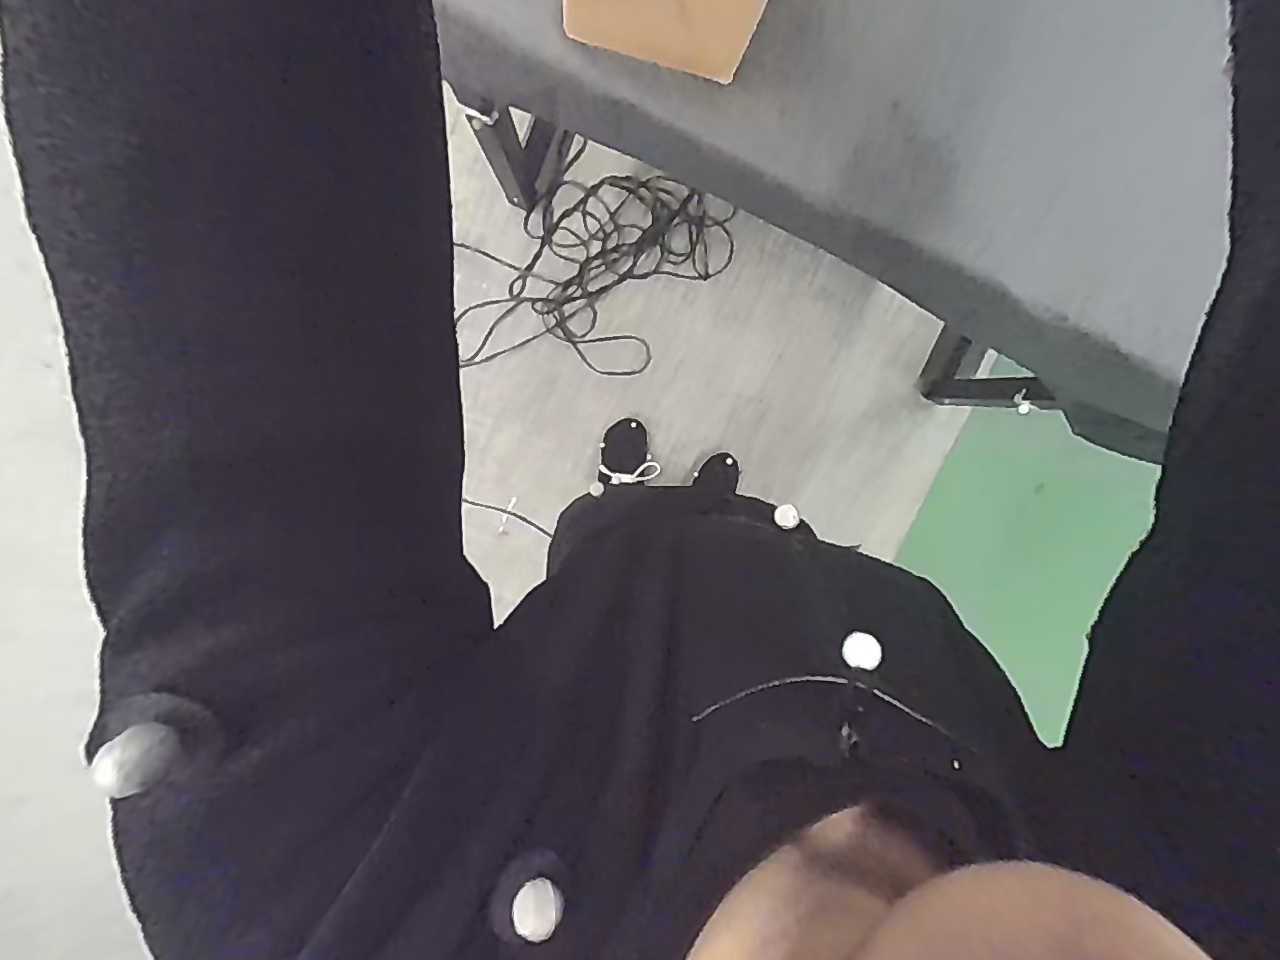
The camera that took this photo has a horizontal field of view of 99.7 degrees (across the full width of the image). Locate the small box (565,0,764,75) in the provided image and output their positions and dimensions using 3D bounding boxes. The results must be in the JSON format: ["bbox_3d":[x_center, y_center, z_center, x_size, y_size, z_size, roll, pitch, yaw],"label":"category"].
[{"bbox_3d":[0.035,-0.491,0.459,0.179,0.176,0.168,12,97,-6],"label":"small box"}]
